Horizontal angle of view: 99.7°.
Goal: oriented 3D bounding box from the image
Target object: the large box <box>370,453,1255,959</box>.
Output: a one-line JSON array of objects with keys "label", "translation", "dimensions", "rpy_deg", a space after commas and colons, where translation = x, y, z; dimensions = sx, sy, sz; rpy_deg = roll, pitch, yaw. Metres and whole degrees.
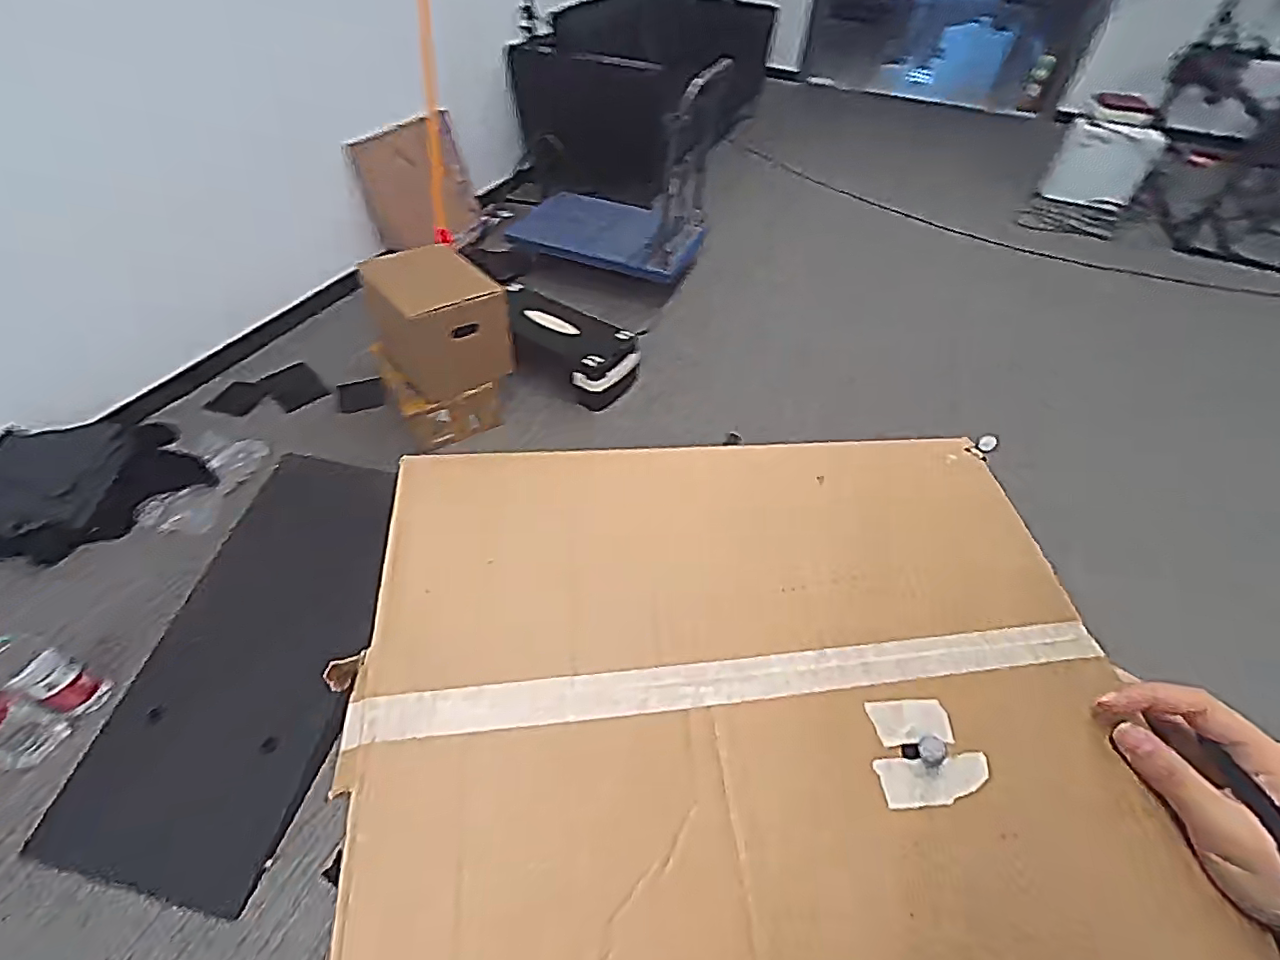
[{"label": "large box", "translation": [0.055, 0.196, 0.419], "dimensions": [0.408, 0.320, 0.320], "rpy_deg": [-1, 56, -10]}]
